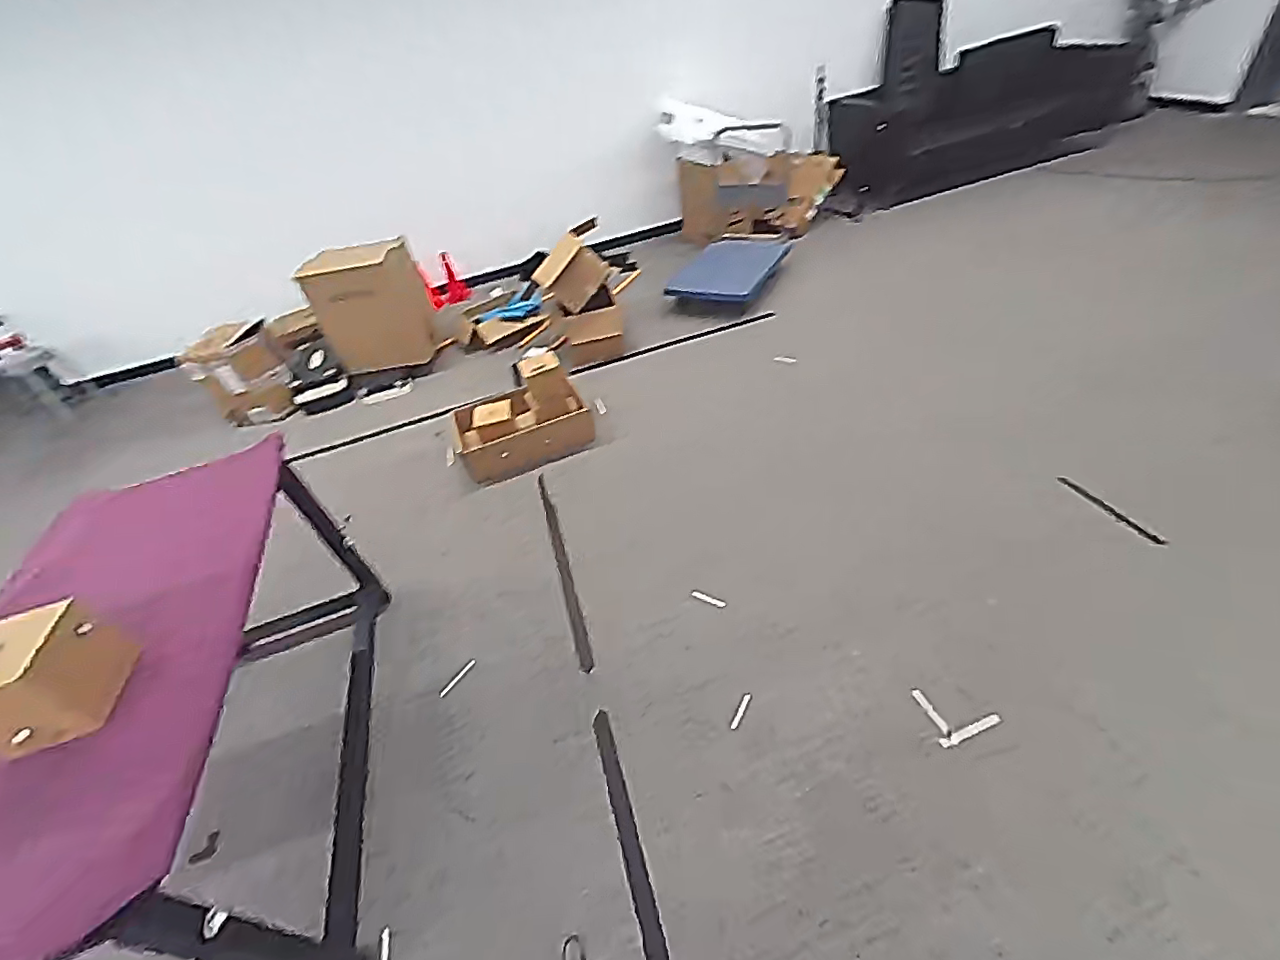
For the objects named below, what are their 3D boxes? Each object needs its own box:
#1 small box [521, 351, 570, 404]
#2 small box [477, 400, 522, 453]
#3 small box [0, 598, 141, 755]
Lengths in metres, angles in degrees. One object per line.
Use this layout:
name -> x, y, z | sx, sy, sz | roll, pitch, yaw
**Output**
small box -> -0.440, -0.473, 2.531 | 0.168, 0.176, 0.179 | -21, 40, -10
small box -> -0.672, -0.254, 2.595 | 0.168, 0.176, 0.179 | -14, 40, -3
small box -> -1.054, 0.349, 0.960 | 0.168, 0.176, 0.179 | -18, 41, -6
